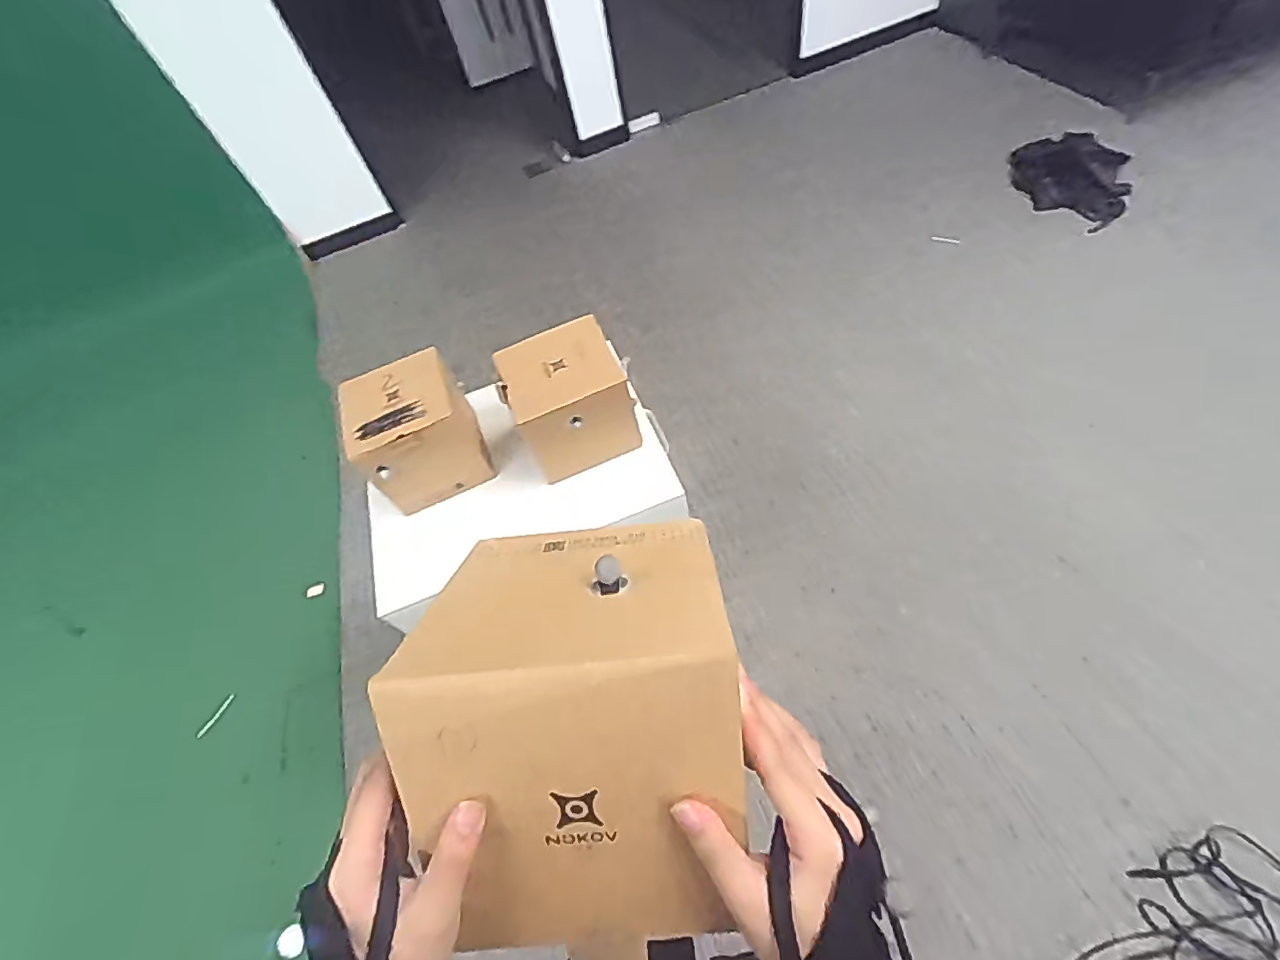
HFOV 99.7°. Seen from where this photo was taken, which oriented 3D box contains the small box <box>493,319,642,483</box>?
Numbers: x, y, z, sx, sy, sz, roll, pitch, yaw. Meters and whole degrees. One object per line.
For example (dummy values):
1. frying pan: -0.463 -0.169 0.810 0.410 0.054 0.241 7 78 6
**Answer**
1. small box: -0.113 -0.123 0.882 0.179 0.176 0.168 -23 57 -5
